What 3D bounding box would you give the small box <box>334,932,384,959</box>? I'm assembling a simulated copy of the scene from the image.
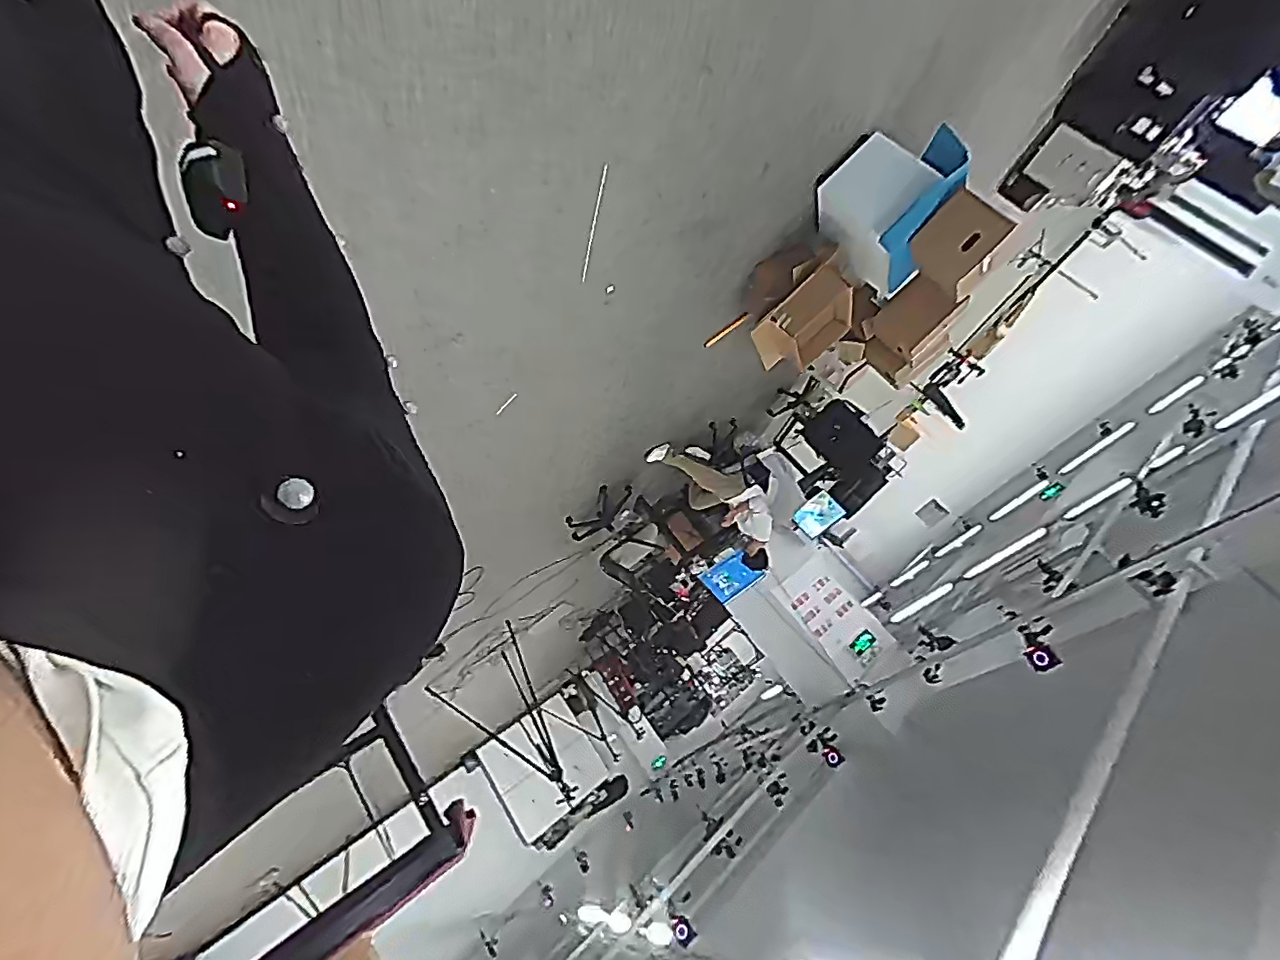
[{"bbox_3d":[-0.849,1.484,1.592,0.168,0.176,0.179,-28,158,-32],"label":"small box"}]
